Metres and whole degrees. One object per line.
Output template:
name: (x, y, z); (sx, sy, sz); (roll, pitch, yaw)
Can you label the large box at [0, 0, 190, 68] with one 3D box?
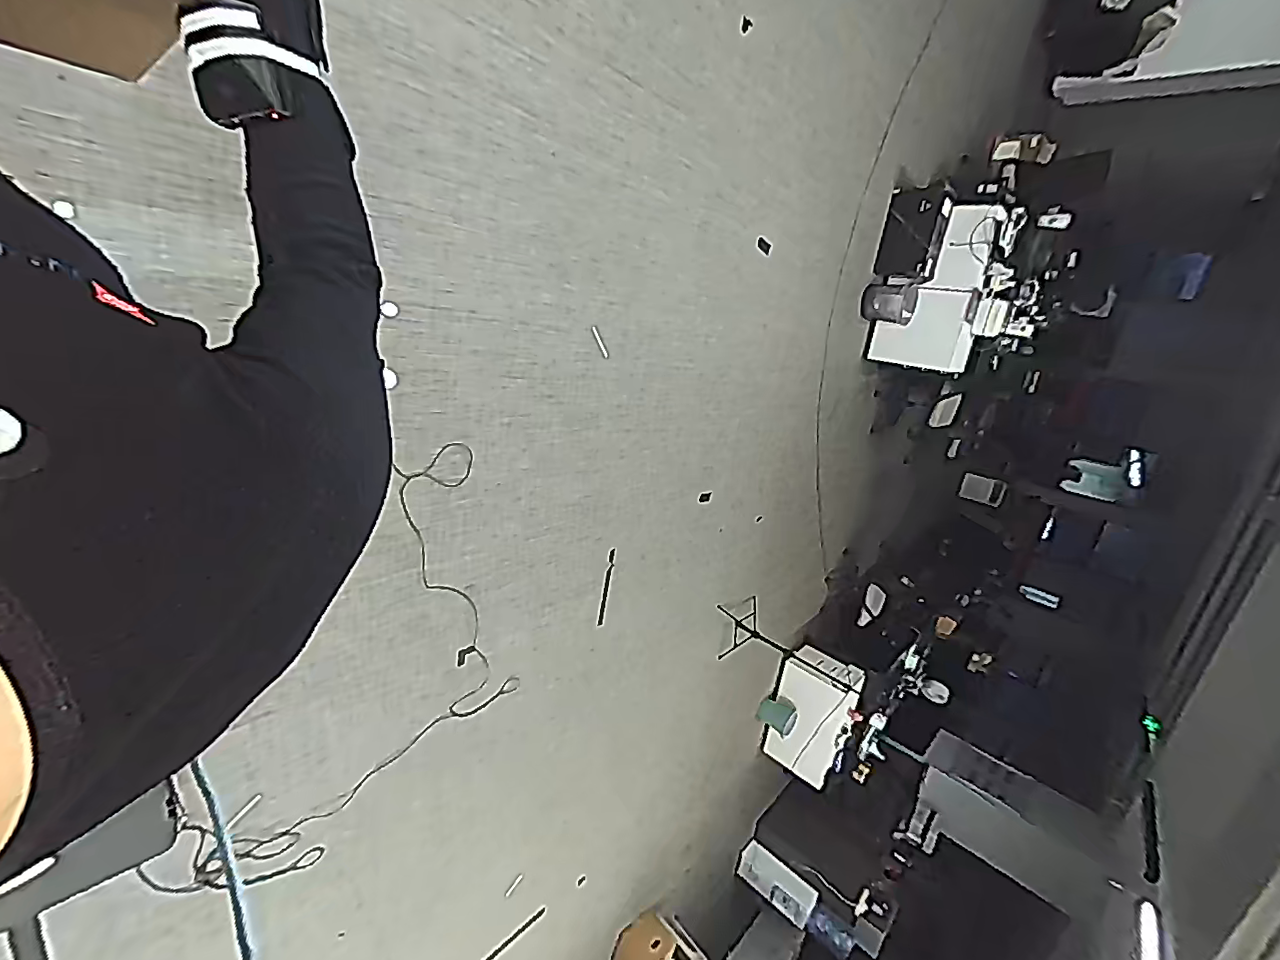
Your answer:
large box: (-0.509, -0.478, 0.257); (0.408, 0.320, 0.320); (-13, 116, -48)
